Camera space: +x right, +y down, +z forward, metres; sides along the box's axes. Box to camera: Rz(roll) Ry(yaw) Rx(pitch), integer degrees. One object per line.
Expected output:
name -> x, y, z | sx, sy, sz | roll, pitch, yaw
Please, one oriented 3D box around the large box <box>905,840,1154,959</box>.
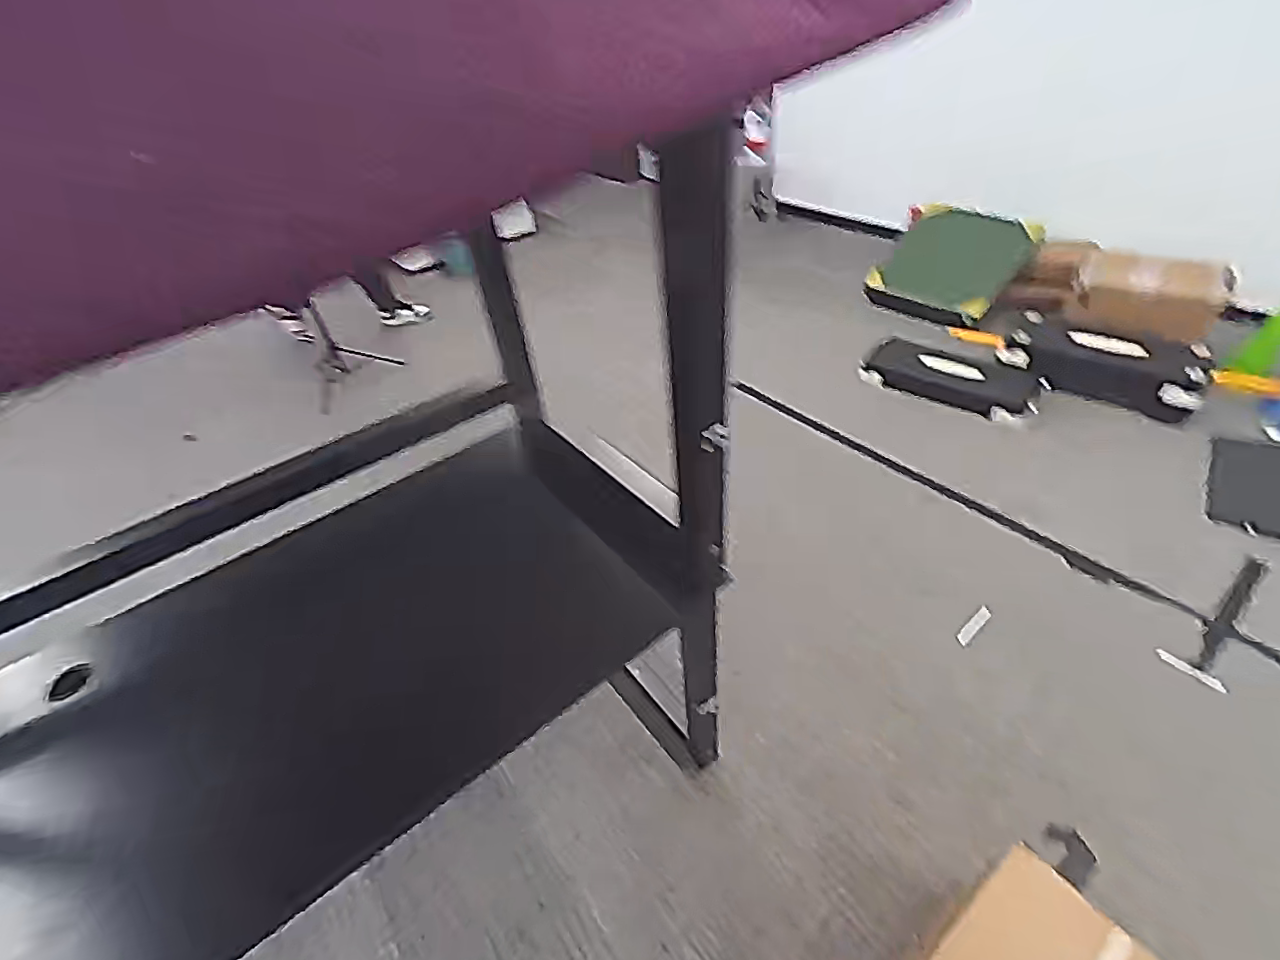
large box -> 0.581, 0.882, 0.837 | 0.408, 0.320, 0.320 | -29, 48, -24
